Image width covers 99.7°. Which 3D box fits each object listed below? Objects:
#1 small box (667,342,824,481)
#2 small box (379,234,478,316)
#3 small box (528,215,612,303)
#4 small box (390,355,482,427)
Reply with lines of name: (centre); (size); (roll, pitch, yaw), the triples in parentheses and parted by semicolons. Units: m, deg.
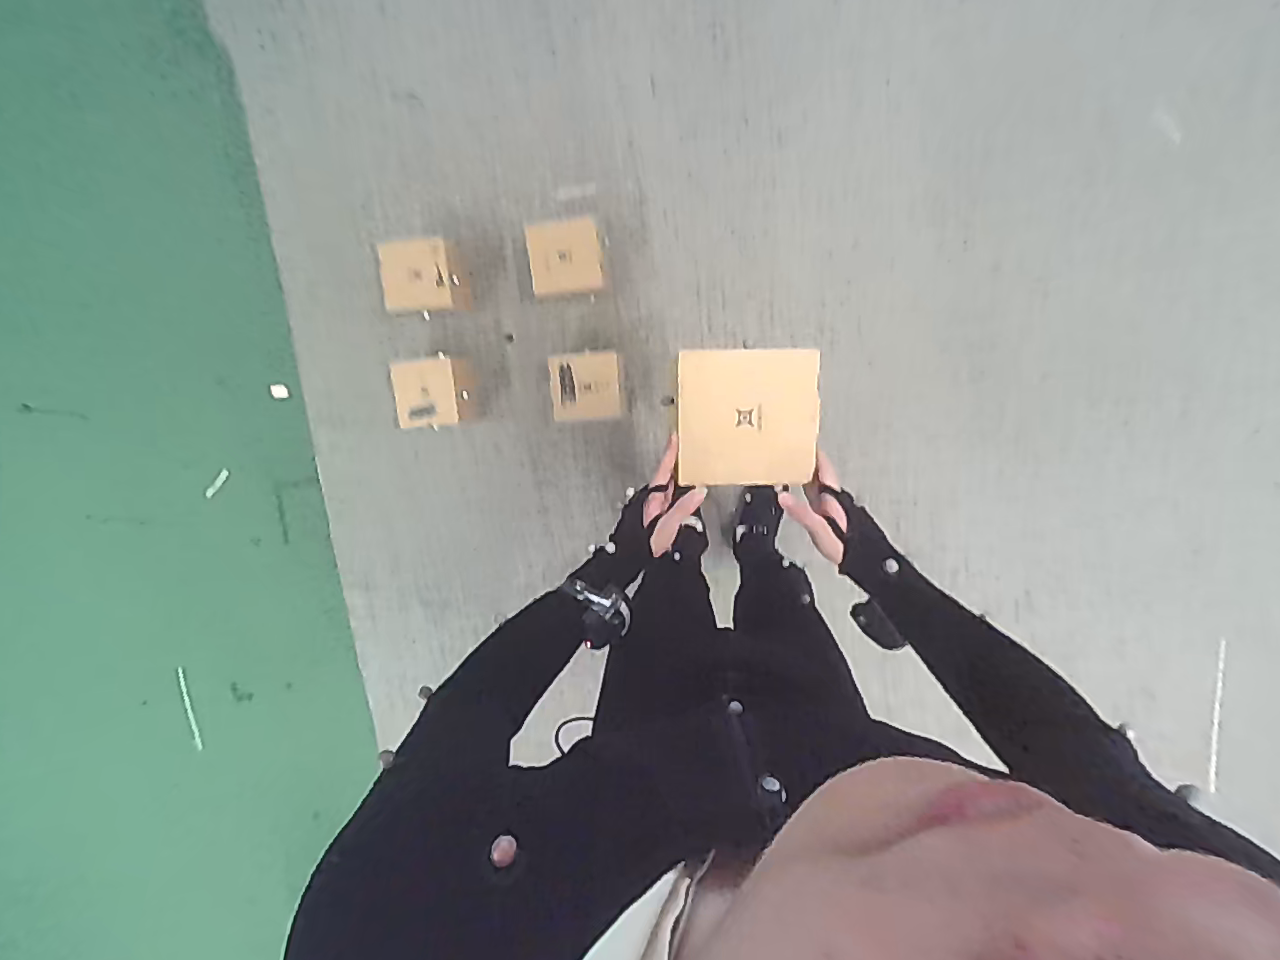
small box: (0.127, -0.089, 0.719); (0.179, 0.176, 0.168); (-1, 98, -3)
small box: (-0.542, -0.525, 1.405); (0.179, 0.176, 0.168); (-2, 100, 7)
small box: (-0.168, -0.550, 1.365); (0.179, 0.176, 0.168); (-4, 99, 7)
small box: (-0.540, -0.240, 1.456); (0.168, 0.176, 0.179); (-3, 99, 6)
